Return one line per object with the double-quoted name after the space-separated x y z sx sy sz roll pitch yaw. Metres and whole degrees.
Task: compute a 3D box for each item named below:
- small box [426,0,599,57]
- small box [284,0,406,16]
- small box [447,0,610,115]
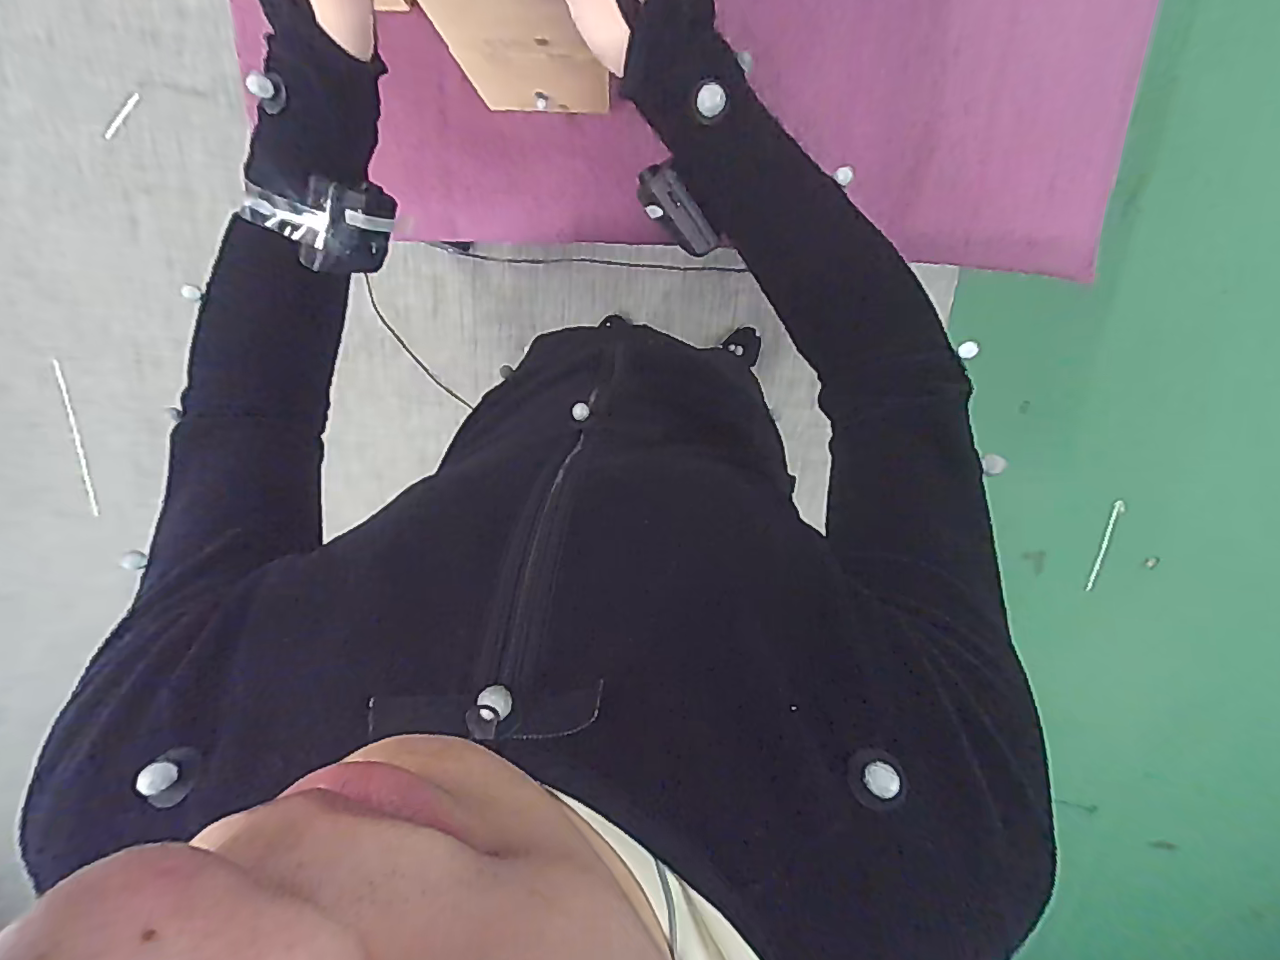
-0.123 -0.521 0.480 0.168 0.176 0.179 1 106 0 "small box"
-0.382 -0.671 0.605 0.168 0.176 0.179 0 107 0 "small box"
-0.124 -0.566 0.638 0.168 0.176 0.179 1 107 0 "small box"
